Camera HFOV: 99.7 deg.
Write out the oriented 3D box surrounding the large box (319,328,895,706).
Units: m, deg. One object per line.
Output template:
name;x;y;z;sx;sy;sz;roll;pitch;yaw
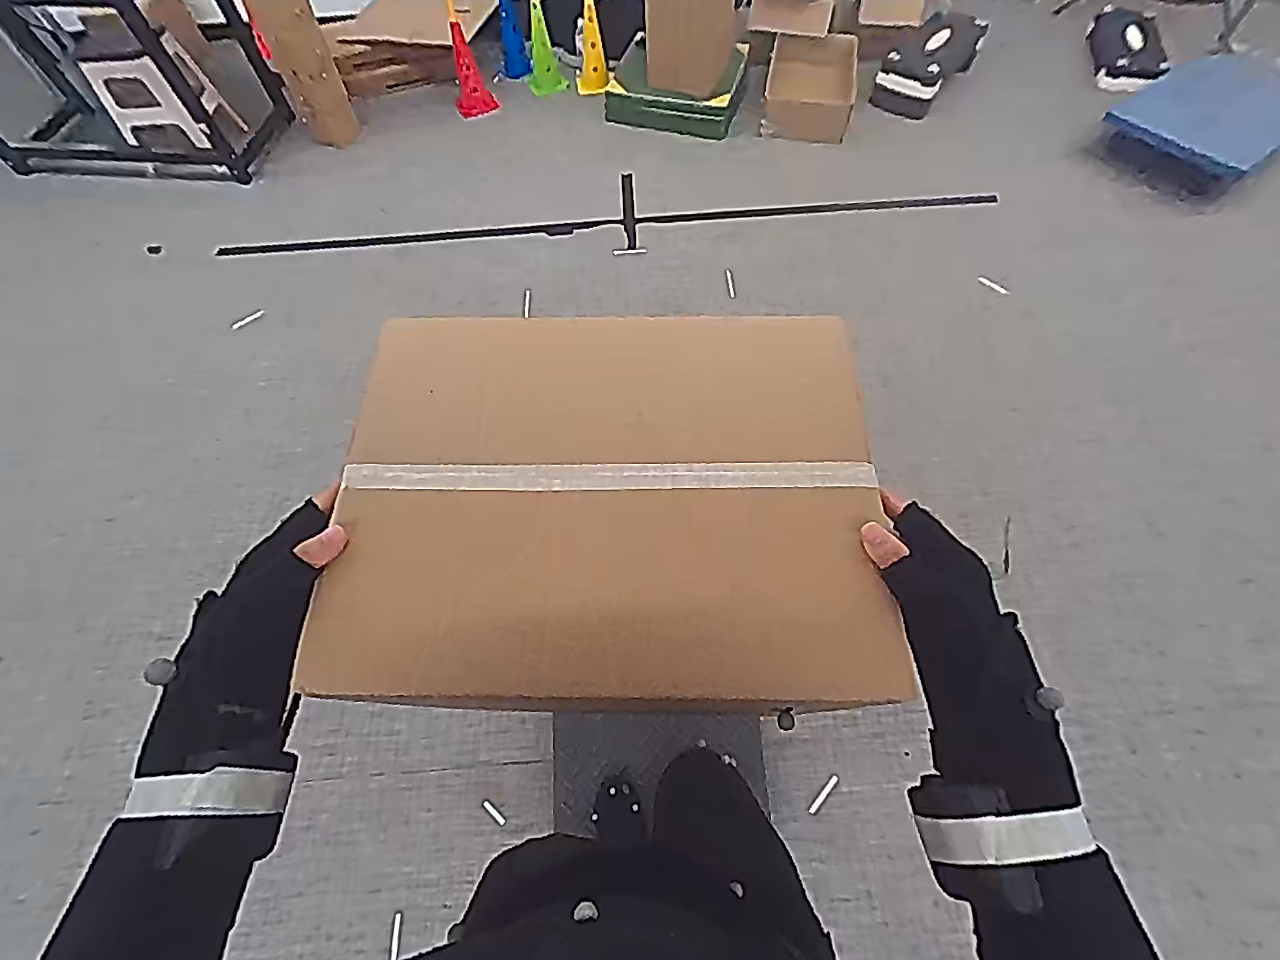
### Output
large box;-0.019;0.067;0.563;0.408;0.320;0.320;0;65;2
